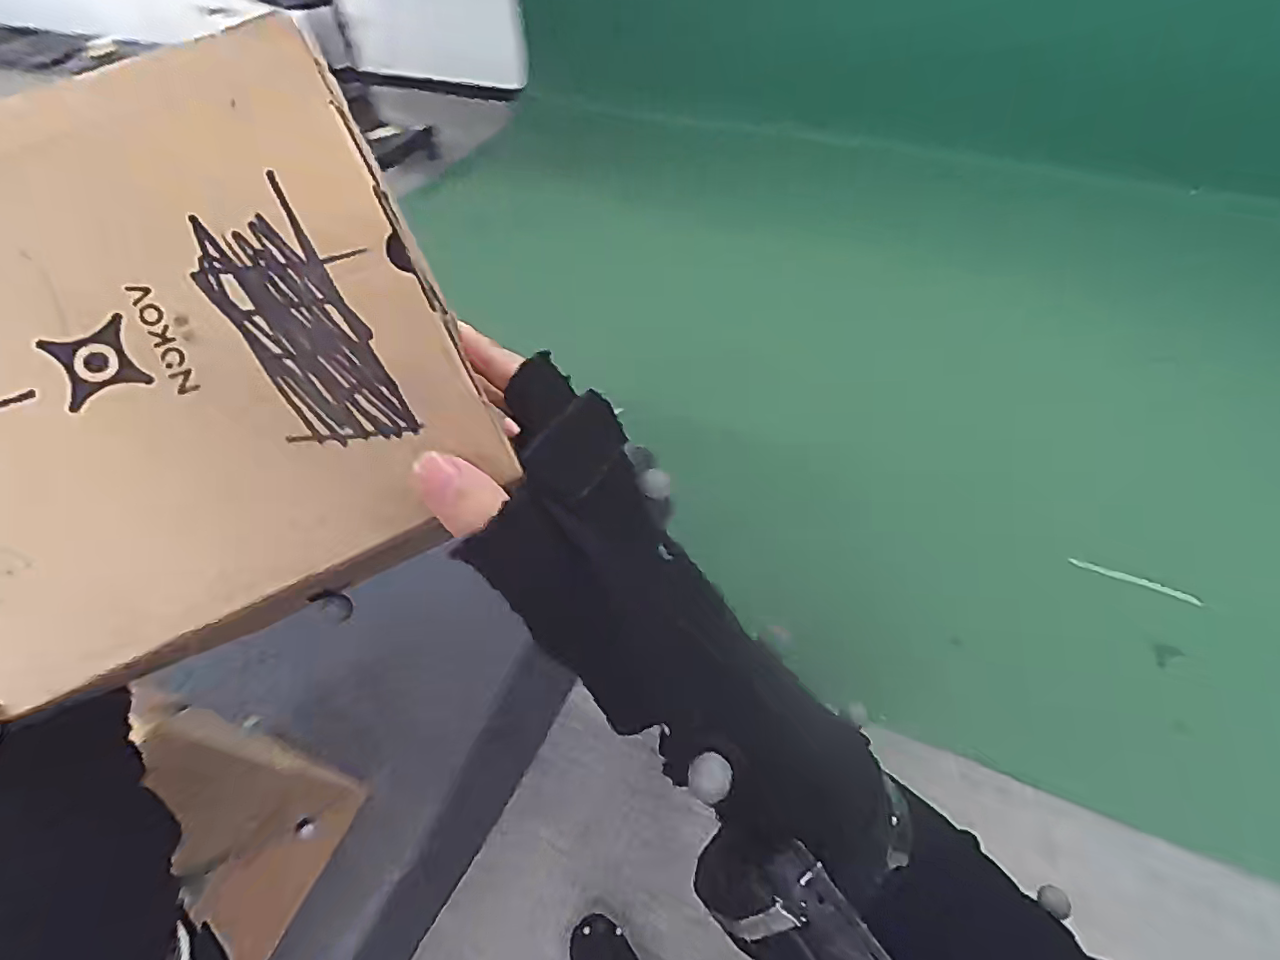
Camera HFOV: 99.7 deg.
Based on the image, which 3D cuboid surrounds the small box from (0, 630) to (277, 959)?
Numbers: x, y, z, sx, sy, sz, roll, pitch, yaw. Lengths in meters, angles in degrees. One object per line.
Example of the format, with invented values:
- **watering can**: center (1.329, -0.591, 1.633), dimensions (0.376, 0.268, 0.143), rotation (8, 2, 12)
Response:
- **small box**: center (-0.410, 0.245, 0.390), dimensions (0.168, 0.176, 0.179), rotation (17, 55, 16)

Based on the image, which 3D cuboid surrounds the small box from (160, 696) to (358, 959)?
- **small box**: center (-0.410, 0.341, 0.523), dimensions (0.168, 0.176, 0.179), rotation (15, 56, 15)
